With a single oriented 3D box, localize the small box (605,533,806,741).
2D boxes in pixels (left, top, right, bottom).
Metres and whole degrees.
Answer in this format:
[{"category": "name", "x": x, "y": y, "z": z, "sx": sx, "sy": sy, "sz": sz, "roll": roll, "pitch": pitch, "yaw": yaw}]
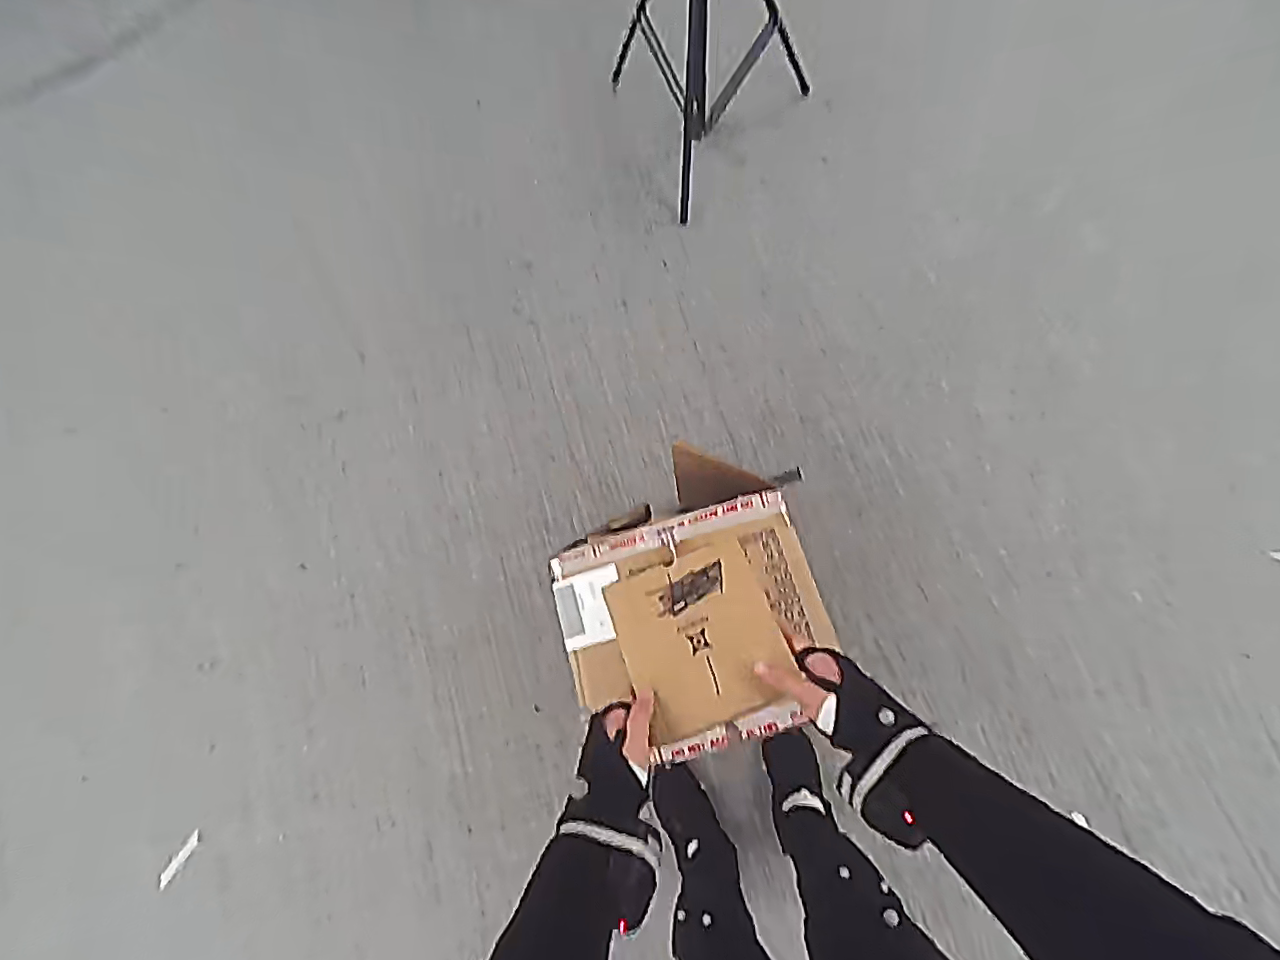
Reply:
[{"category": "small box", "x": 0.074, "y": 0.192, "z": 0.642, "sx": 0.168, "sy": 0.176, "sz": 0.179, "roll": -22, "pitch": 65, "yaw": 0}]
